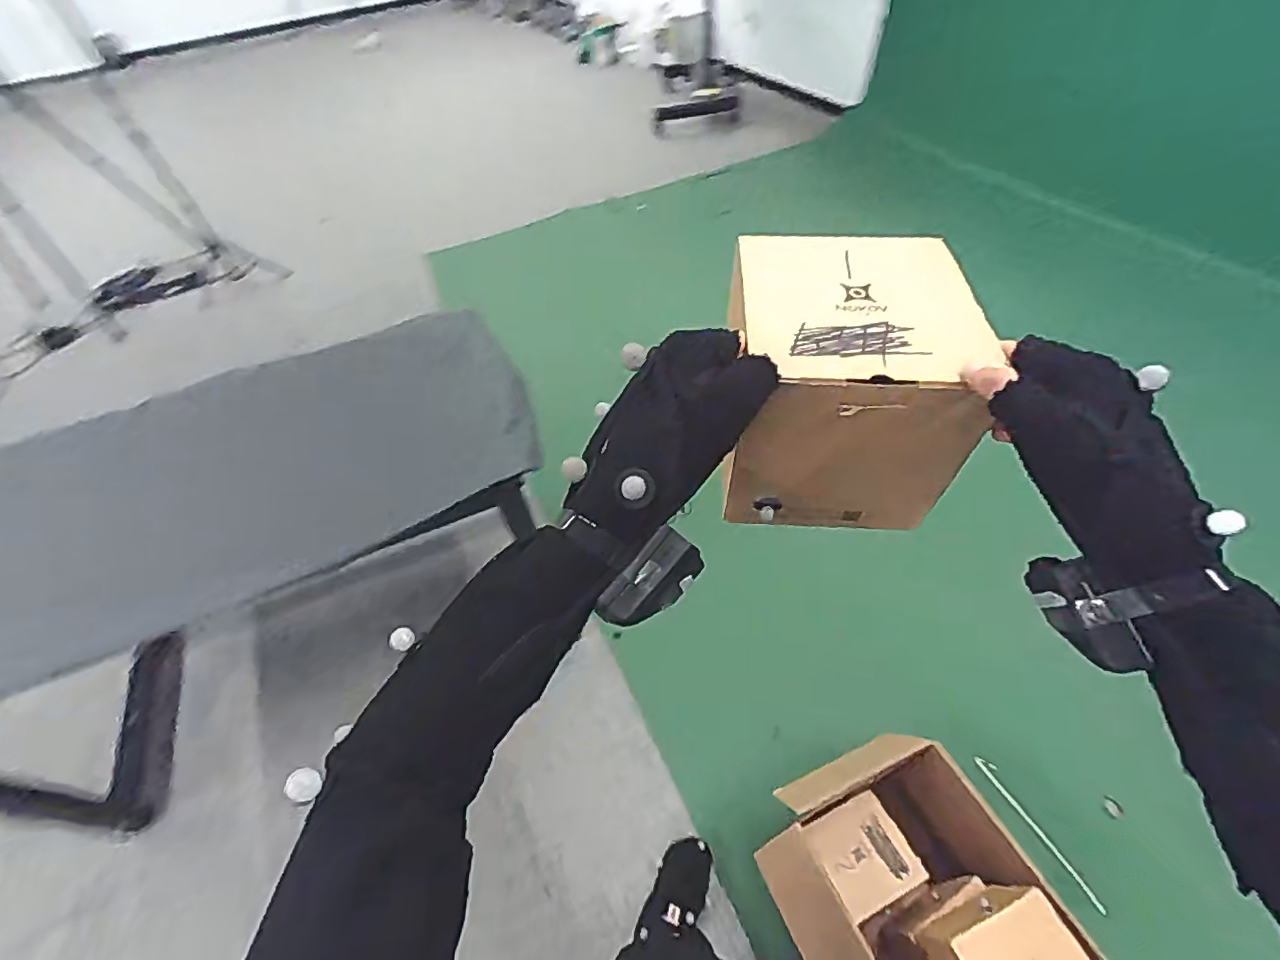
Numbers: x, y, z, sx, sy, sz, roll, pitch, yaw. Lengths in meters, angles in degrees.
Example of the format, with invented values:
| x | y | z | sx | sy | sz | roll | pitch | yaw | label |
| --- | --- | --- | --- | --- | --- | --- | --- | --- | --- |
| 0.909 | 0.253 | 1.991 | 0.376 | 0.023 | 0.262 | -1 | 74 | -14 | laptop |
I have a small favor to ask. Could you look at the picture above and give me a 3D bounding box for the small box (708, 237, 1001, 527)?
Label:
| x | y | z | sx | sy | sz | roll | pitch | yaw | label |
| --- | --- | --- | --- | --- | --- | --- | --- | --- | --- |
| 0.146 | -0.076 | 0.444 | 0.168 | 0.176 | 0.179 | 1 | 51 | 3 | small box |
